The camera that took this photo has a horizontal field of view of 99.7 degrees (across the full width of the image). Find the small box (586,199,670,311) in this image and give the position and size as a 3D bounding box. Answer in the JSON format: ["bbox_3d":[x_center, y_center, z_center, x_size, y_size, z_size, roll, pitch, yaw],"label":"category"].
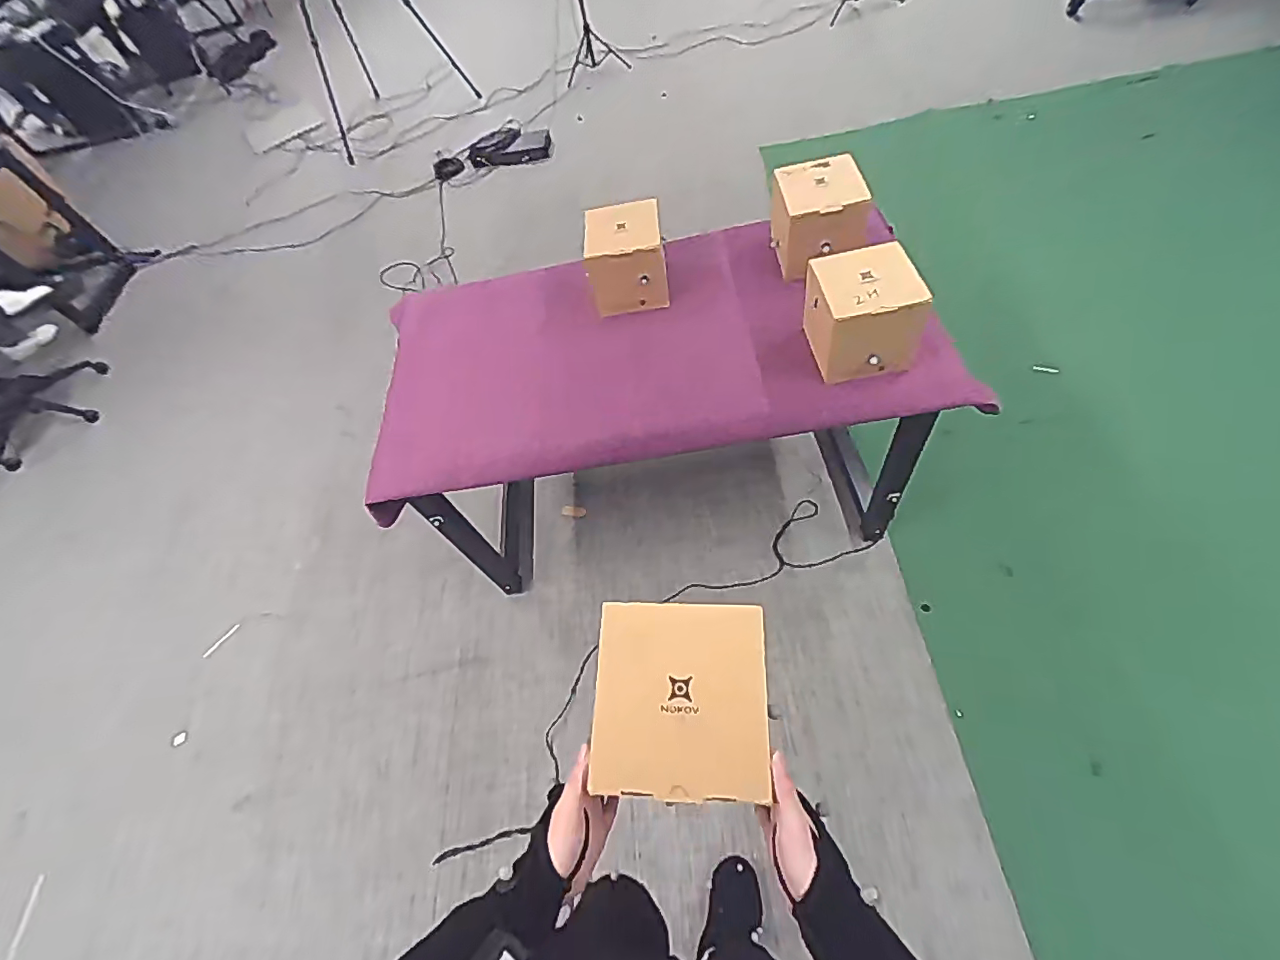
[{"bbox_3d":[-0.023,-0.510,1.249,0.168,0.176,0.179,-6,57,7],"label":"small box"}]

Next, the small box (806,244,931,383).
[{"bbox_3d":[0.422,-0.313,1.033,0.168,0.176,0.179,-10,56,7],"label":"small box"}]

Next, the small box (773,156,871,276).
[{"bbox_3d":[0.396,-0.577,1.206,0.168,0.176,0.179,-8,60,6],"label":"small box"}]

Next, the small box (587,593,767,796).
[{"bbox_3d":[0.043,0.233,0.591,0.168,0.176,0.179,1,65,6],"label":"small box"}]
